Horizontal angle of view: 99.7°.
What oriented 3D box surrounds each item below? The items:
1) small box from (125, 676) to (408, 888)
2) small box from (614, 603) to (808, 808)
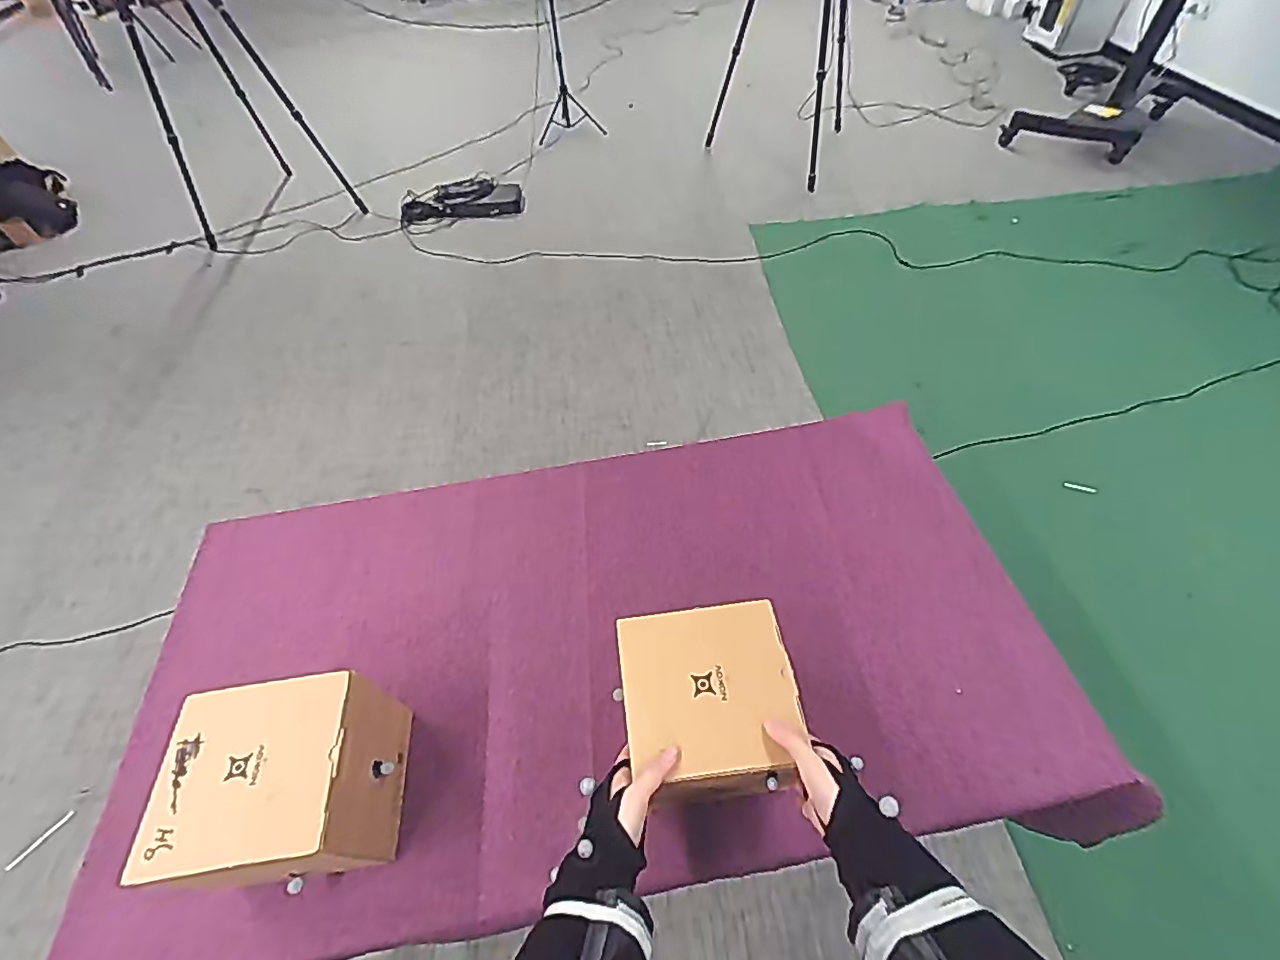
[{"bbox_3d":[-0.376,0.332,0.591,0.179,0.176,0.168,-8,52,-2],"label":"small box"},{"bbox_3d":[0.070,0.260,0.613,0.179,0.176,0.168,-7,52,-2],"label":"small box"}]
